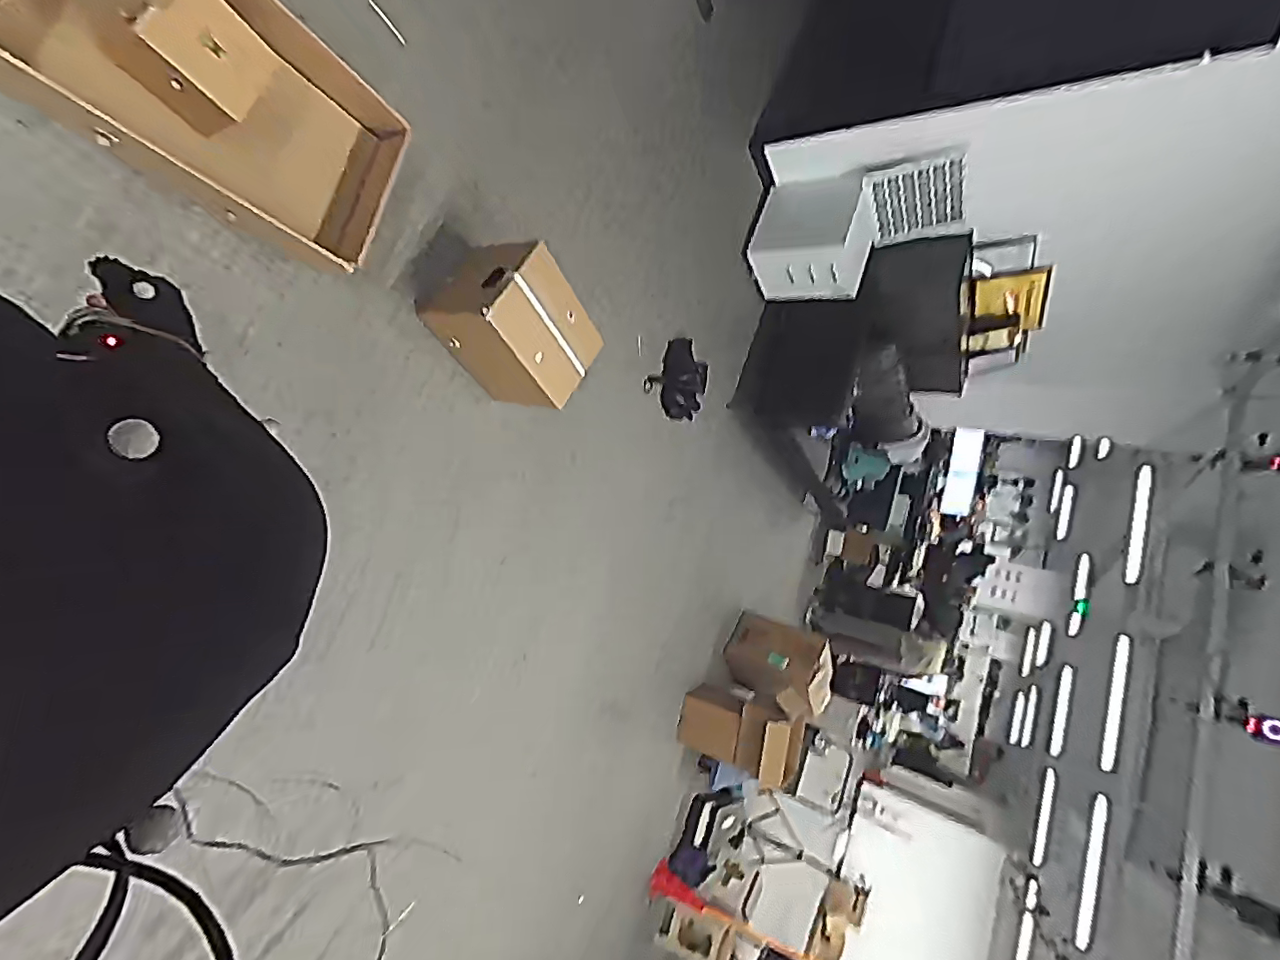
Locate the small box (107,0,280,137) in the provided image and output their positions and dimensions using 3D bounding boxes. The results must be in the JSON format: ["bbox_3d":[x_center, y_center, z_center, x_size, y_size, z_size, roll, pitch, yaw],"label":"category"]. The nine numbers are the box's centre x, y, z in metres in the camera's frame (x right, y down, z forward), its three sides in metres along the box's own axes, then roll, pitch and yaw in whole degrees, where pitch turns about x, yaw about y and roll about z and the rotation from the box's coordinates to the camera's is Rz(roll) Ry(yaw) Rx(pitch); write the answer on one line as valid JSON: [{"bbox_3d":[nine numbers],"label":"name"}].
[{"bbox_3d":[-0.843,-0.789,1.021,0.179,0.176,0.168,40,66,-55],"label":"small box"}]
